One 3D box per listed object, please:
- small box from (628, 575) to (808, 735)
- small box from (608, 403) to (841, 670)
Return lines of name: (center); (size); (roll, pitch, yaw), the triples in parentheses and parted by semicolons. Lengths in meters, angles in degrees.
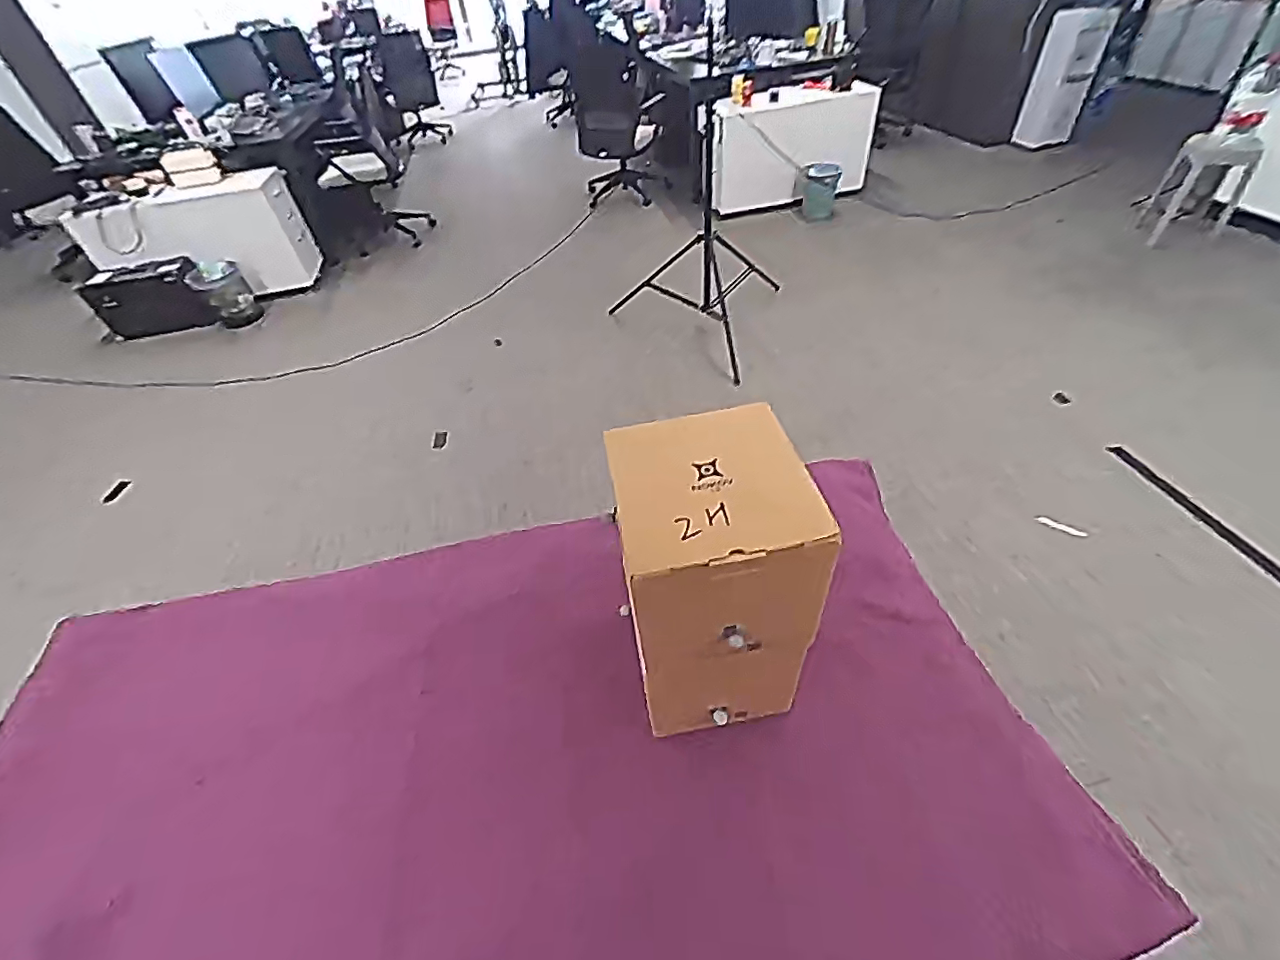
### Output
small box: (0.077, 0.170, 0.636); (0.168, 0.176, 0.179); (-10, 45, -3)
small box: (0.067, 0.053, 0.520); (0.168, 0.176, 0.179); (-11, 45, -3)
